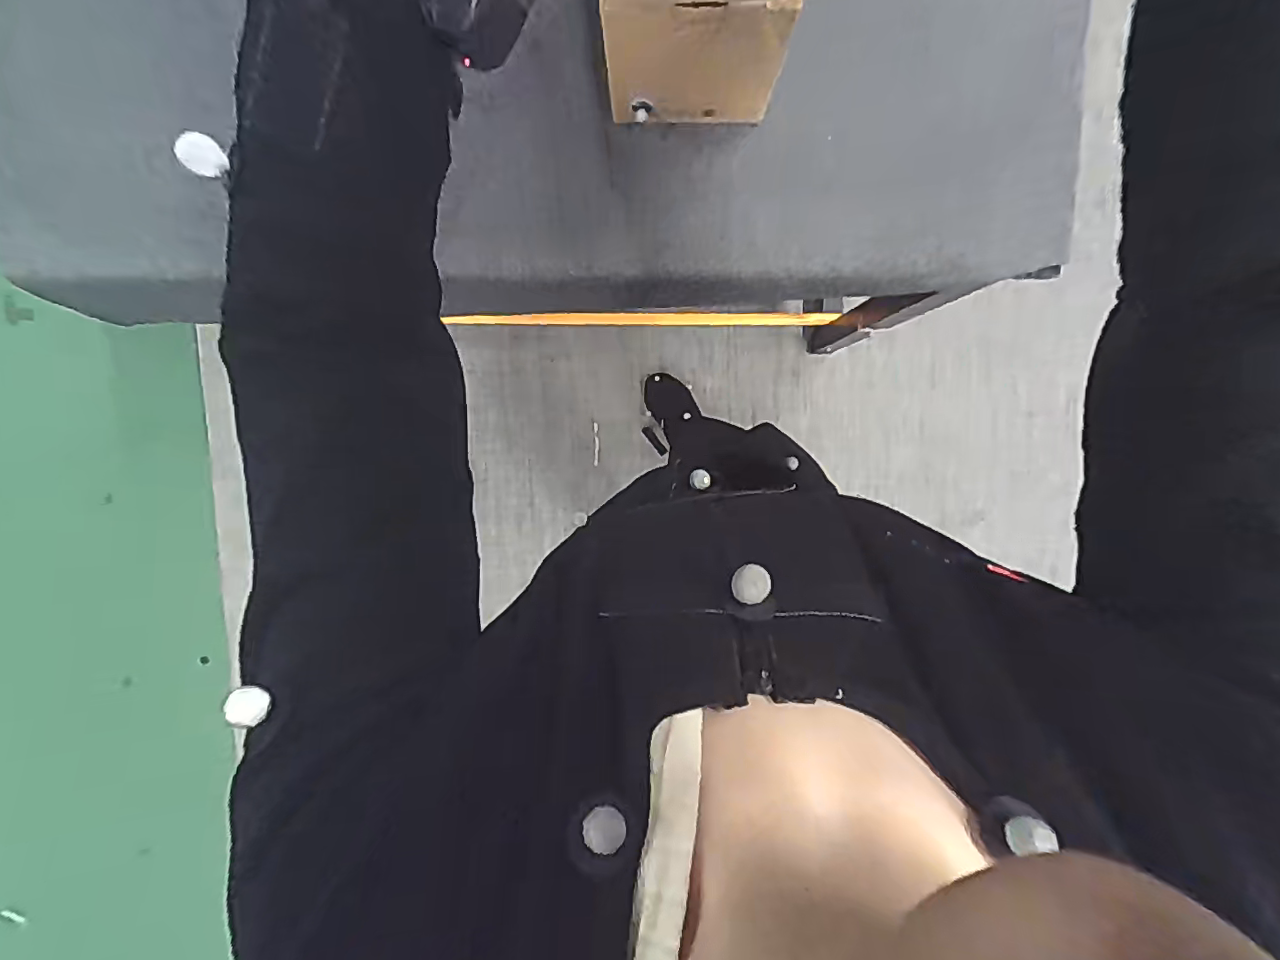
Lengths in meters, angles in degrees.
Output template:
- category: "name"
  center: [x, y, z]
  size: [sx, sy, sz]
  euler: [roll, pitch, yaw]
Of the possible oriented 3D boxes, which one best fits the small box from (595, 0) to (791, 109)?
- category: "small box"
  center: [0.048, -0.477, 0.499]
  size: [0.168, 0.176, 0.179]
  euler: [1, 95, 1]
